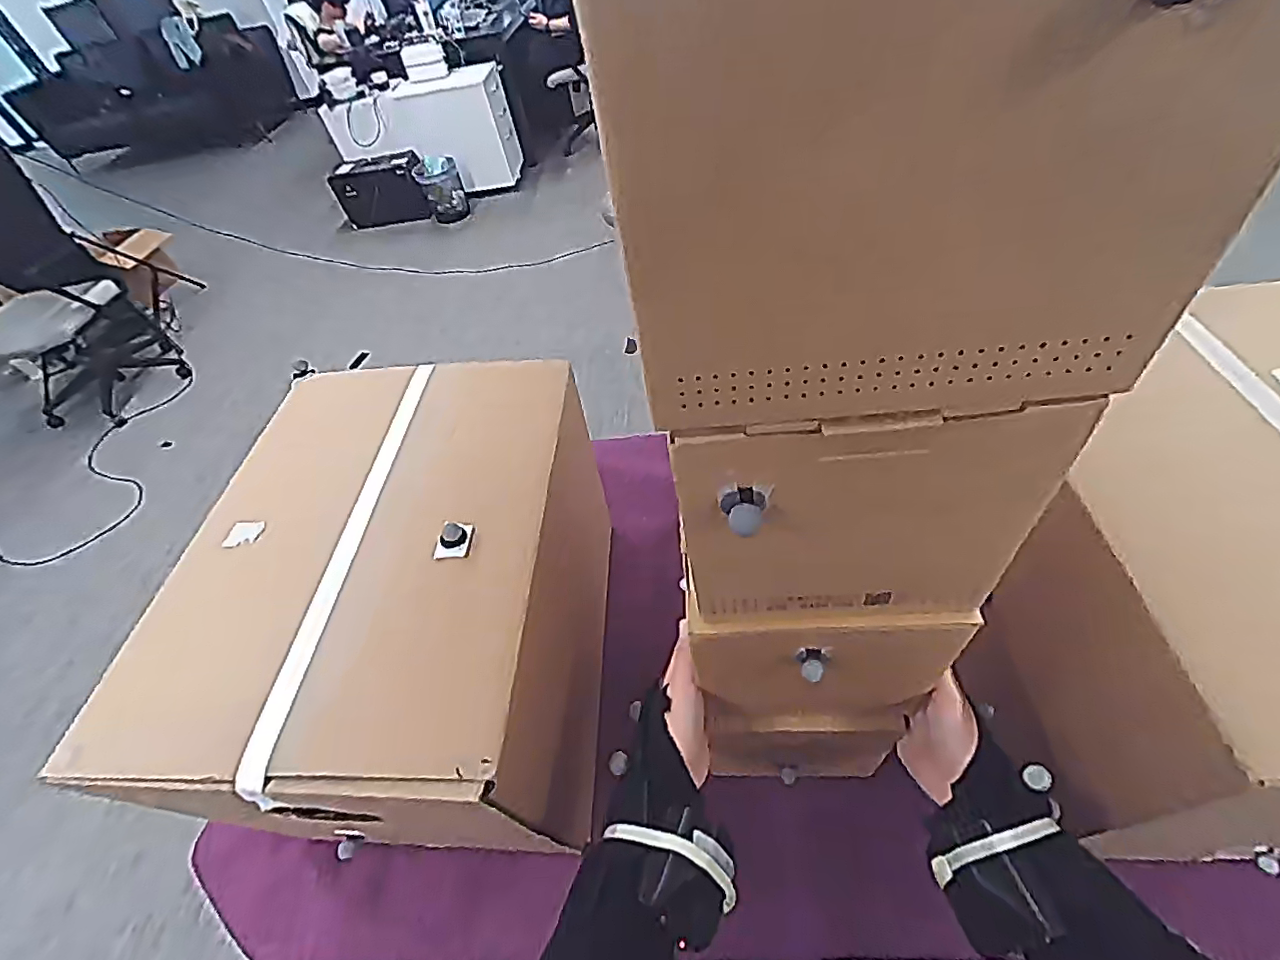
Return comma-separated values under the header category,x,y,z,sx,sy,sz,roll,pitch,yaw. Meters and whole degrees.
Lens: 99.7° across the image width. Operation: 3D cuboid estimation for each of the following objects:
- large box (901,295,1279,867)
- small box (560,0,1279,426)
category,x,y,z,sx,sy,sz,roll,pitch,yaw
large box,0.479,0.091,0.491,0.320,0.320,0.408,-4,49,7
small box,0.080,-0.137,0.198,0.179,0.176,0.168,-4,48,9
